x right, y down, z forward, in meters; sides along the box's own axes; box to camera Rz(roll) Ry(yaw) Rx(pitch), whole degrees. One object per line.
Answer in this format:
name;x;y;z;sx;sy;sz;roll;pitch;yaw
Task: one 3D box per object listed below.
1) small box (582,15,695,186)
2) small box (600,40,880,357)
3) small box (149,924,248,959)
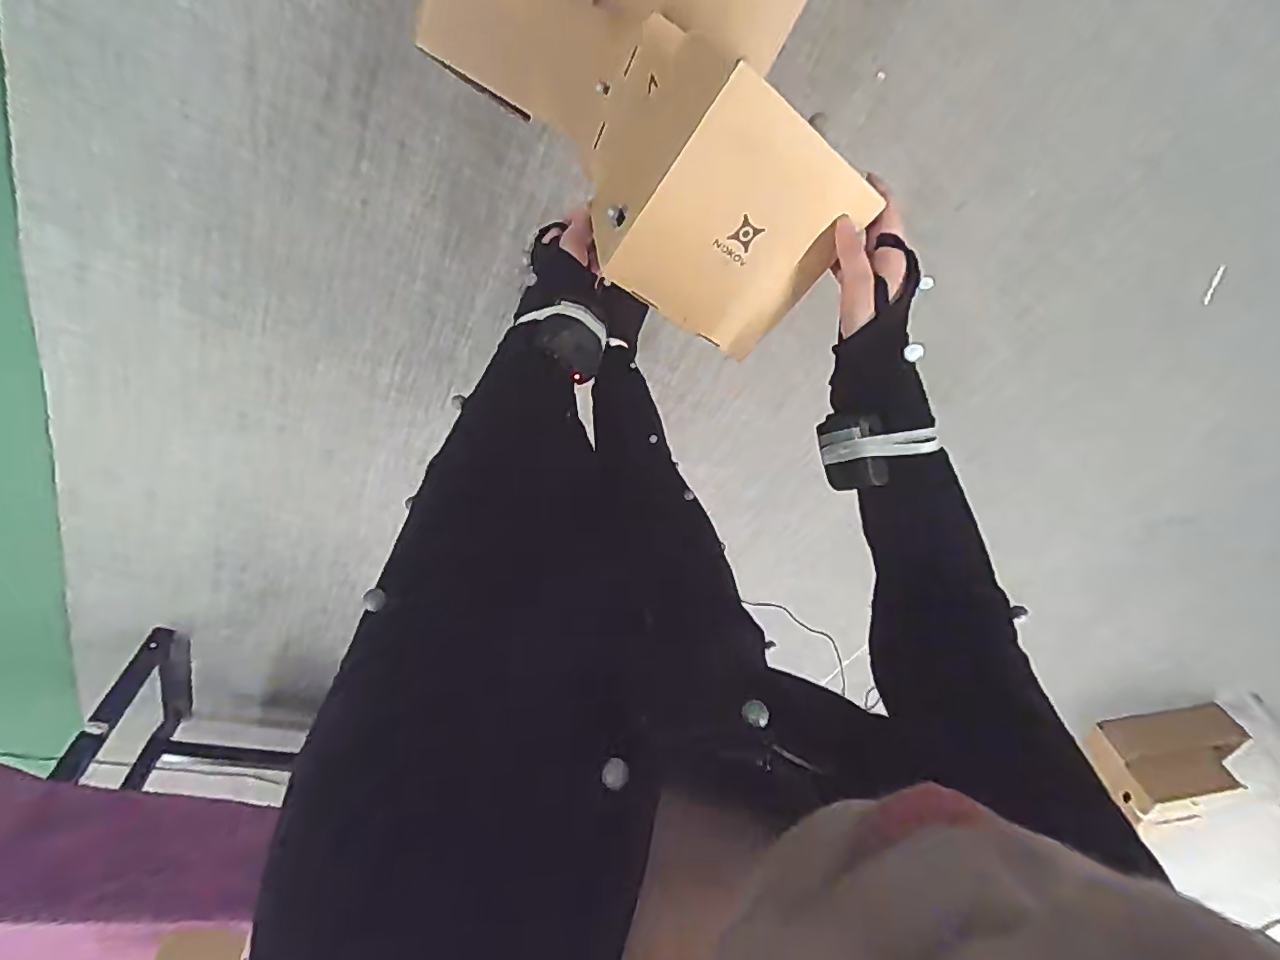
small box;0.041;-0.422;0.663;0.179;0.176;0.168;21;122;-22
small box;0.073;-0.256;0.498;0.168;0.176;0.179;23;128;-28
small box;-1.041;1.151;1.248;0.179;0.176;0.168;19;124;-20
